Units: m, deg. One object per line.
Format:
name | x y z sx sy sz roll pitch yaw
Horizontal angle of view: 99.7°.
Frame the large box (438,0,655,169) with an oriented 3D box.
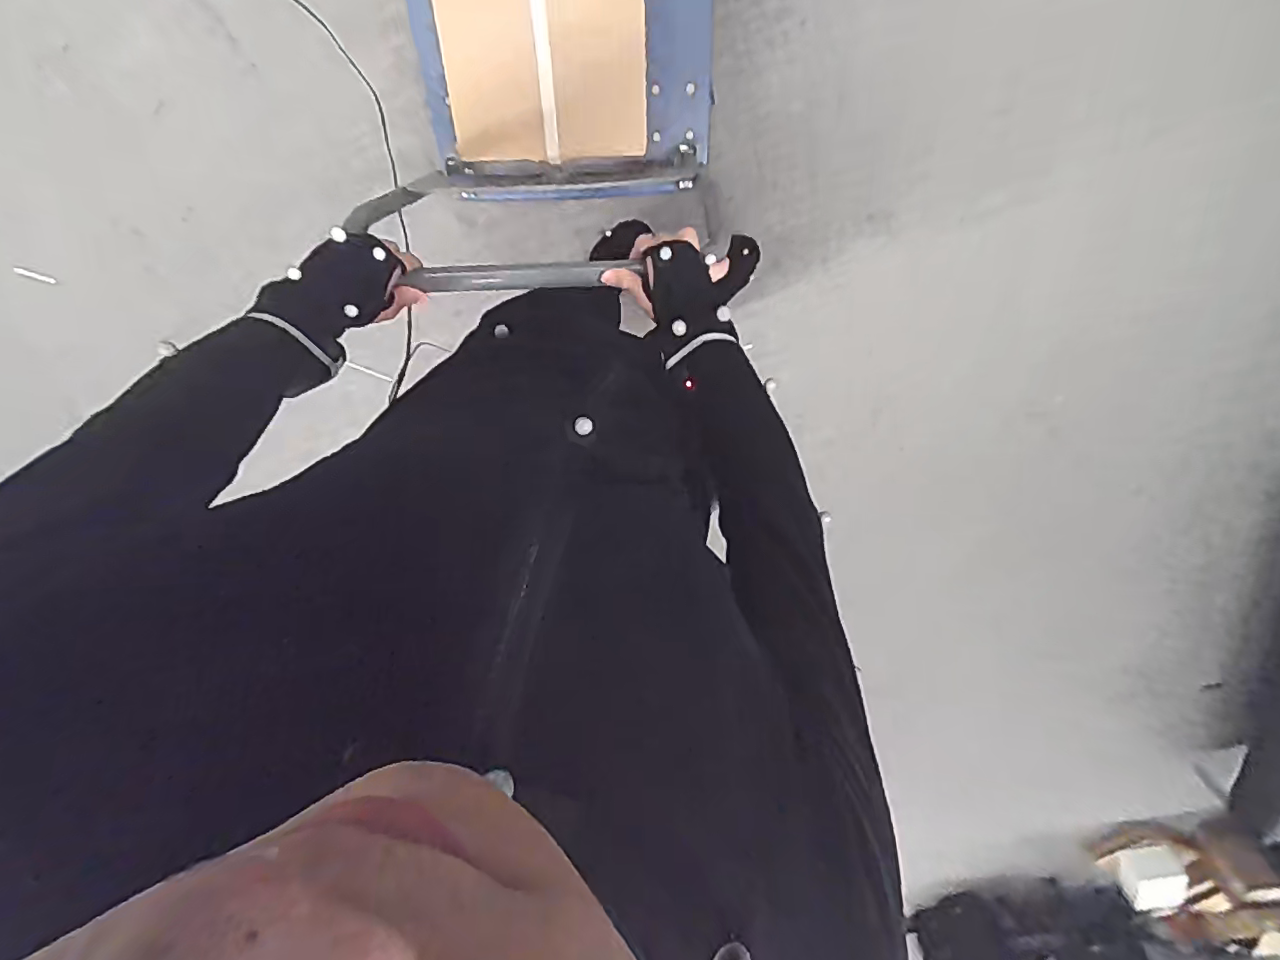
large box | -0.137 -0.773 0.918 0.320 0.320 0.408 -1 122 2
